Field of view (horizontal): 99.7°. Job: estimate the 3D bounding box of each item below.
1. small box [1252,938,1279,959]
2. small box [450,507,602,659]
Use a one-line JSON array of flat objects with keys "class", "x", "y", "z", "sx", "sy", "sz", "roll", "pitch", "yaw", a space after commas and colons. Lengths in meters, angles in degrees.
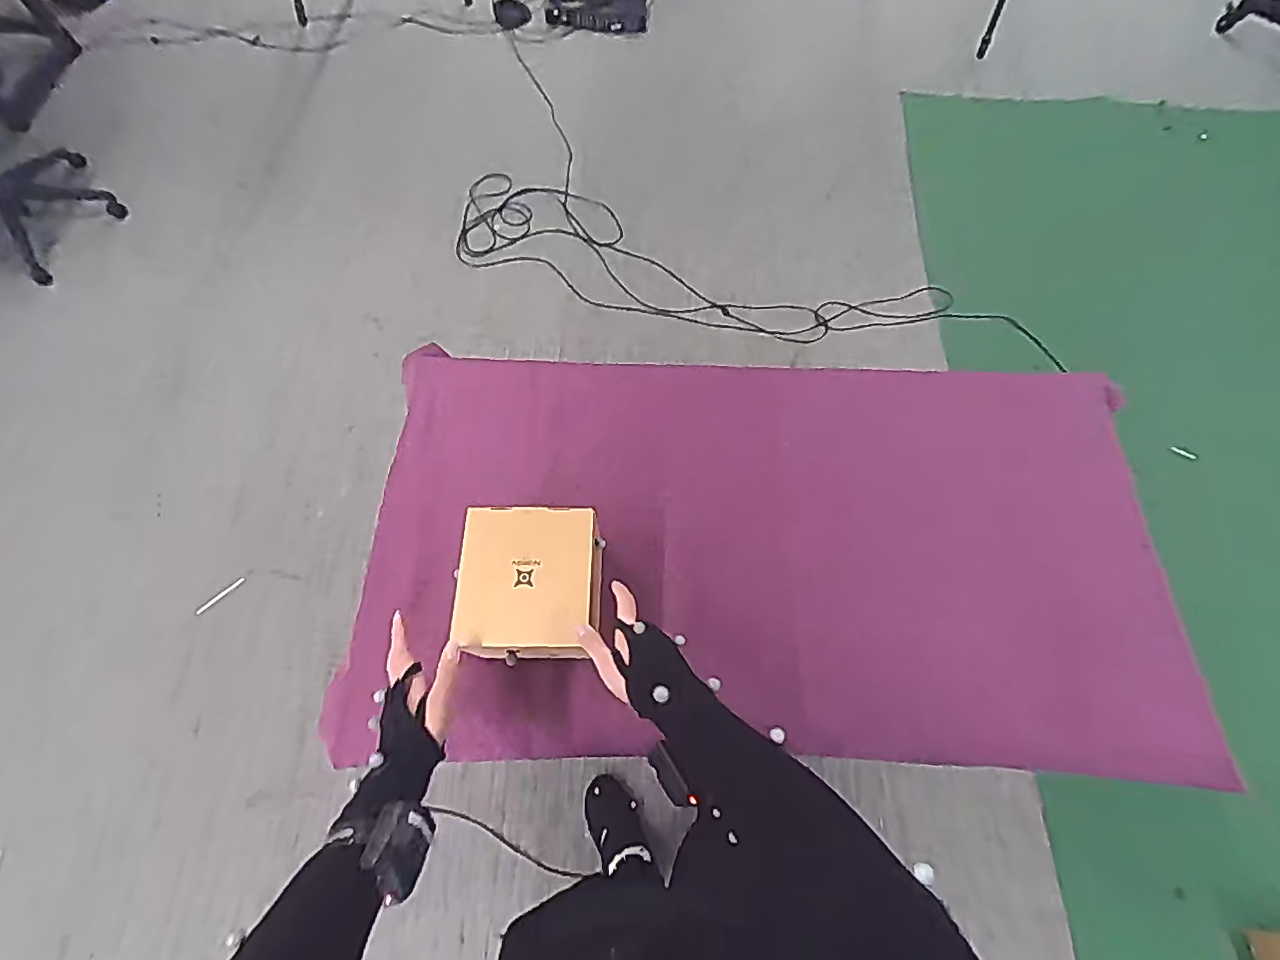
[{"class": "small box", "x": 1.469, "y": 1.089, "z": 1.125, "sx": 0.179, "sy": 0.176, "sz": 0.168, "roll": 2, "pitch": 66, "yaw": 2}, {"class": "small box", "x": -0.141, "y": 0.147, "z": 0.738, "sx": 0.168, "sy": 0.176, "sz": 0.179, "roll": 0, "pitch": 66, "yaw": 0}]
